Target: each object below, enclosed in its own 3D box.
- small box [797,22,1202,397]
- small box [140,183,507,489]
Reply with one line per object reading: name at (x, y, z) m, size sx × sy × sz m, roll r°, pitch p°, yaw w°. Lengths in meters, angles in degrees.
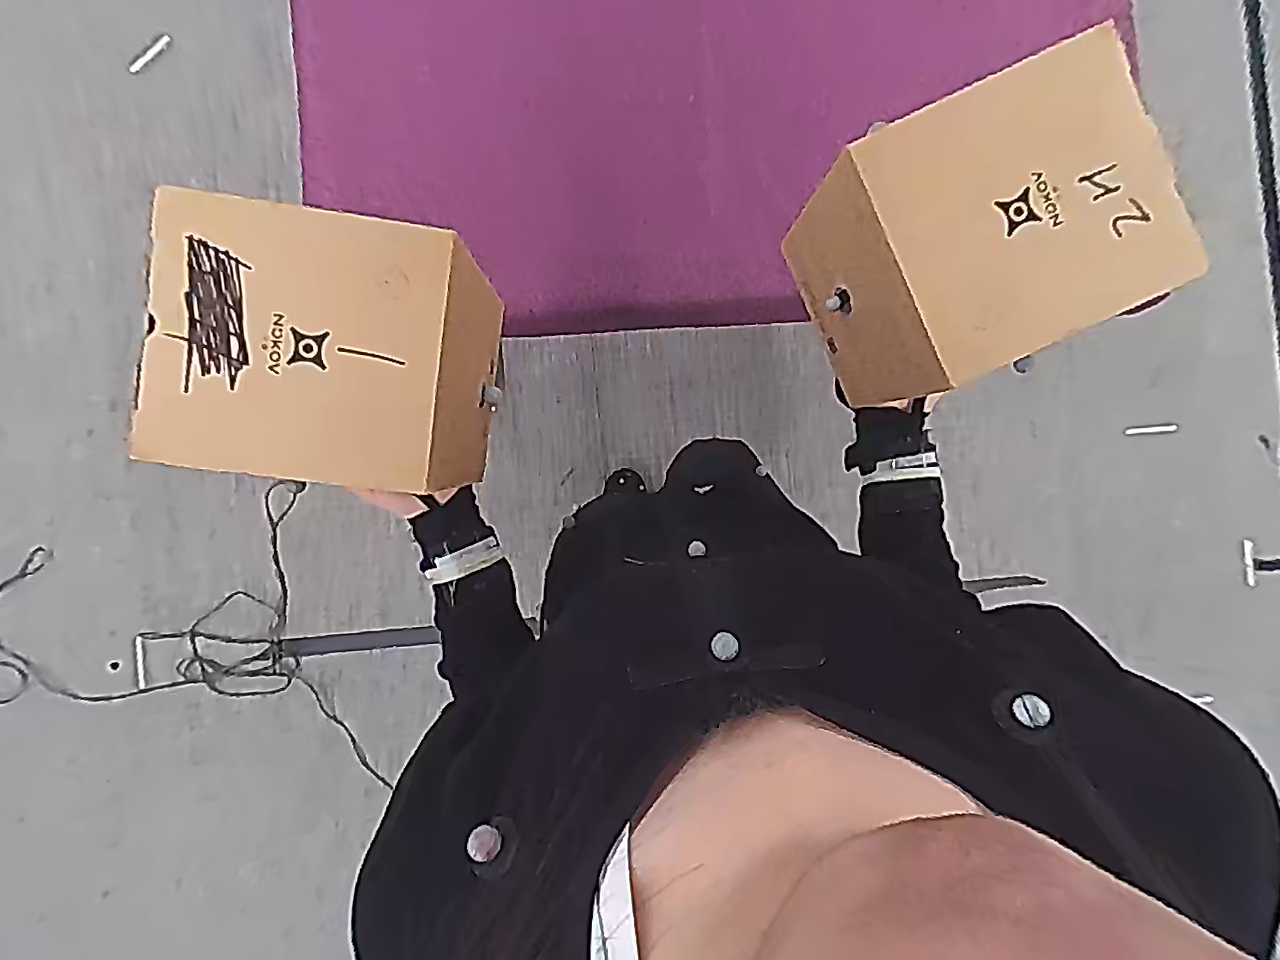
small box at (0.238, -0.174, 0.413) m, size 0.179 × 0.176 × 0.168 m, roll -24°, pitch 93°, yaw 1°
small box at (-0.210, -0.089, 0.407) m, size 0.179 × 0.176 × 0.168 m, roll 7°, pitch 93°, yaw -5°
